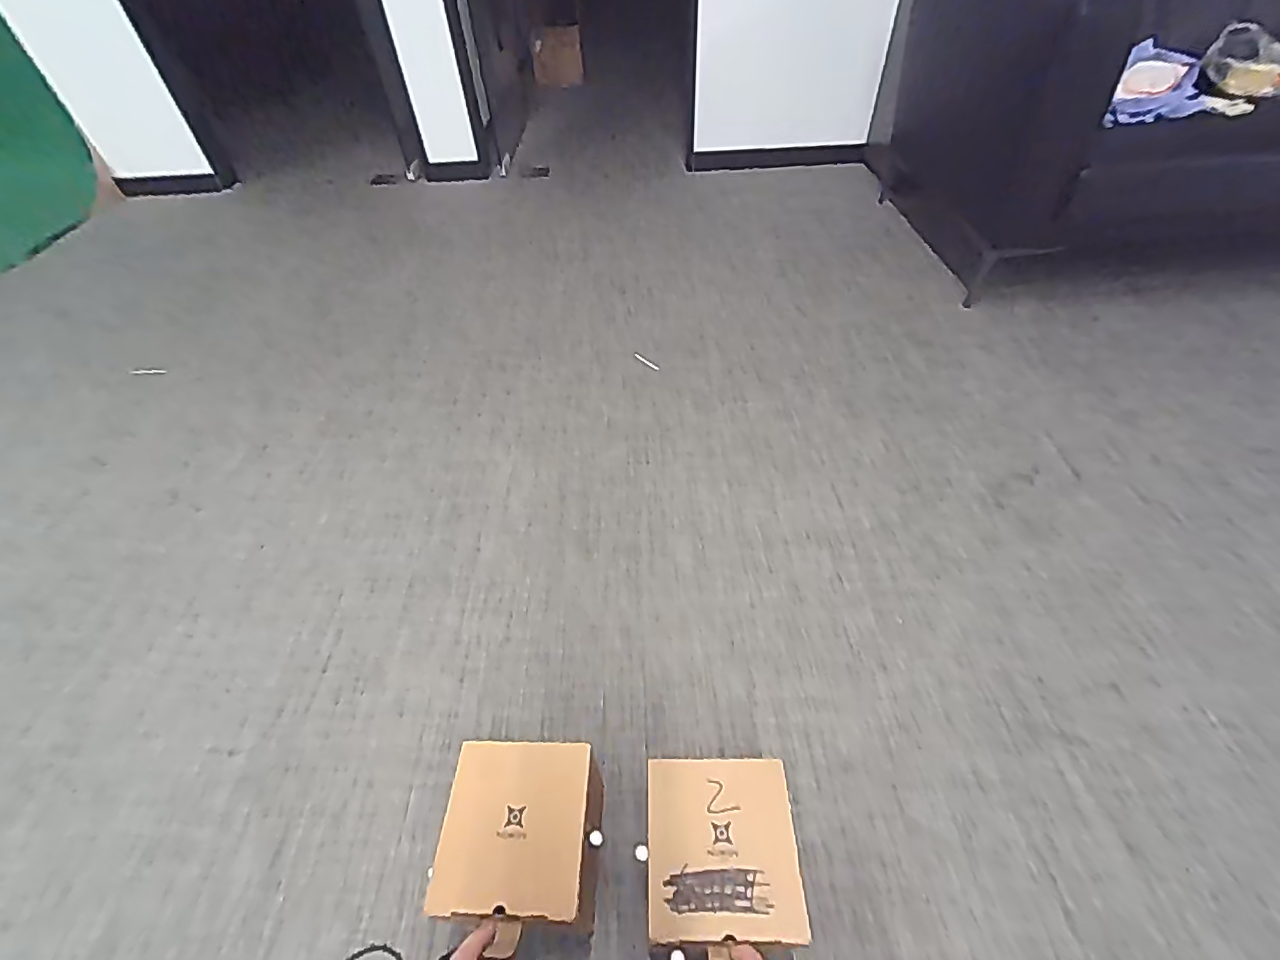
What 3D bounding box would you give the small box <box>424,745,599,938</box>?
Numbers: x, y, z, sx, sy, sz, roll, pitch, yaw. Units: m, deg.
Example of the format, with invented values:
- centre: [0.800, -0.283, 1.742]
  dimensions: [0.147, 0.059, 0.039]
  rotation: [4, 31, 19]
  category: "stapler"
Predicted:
- centre: [-0.144, 0.457, 0.684]
  dimensions: [0.168, 0.176, 0.179]
  rotation: [0, 48, 3]
  category: "small box"
